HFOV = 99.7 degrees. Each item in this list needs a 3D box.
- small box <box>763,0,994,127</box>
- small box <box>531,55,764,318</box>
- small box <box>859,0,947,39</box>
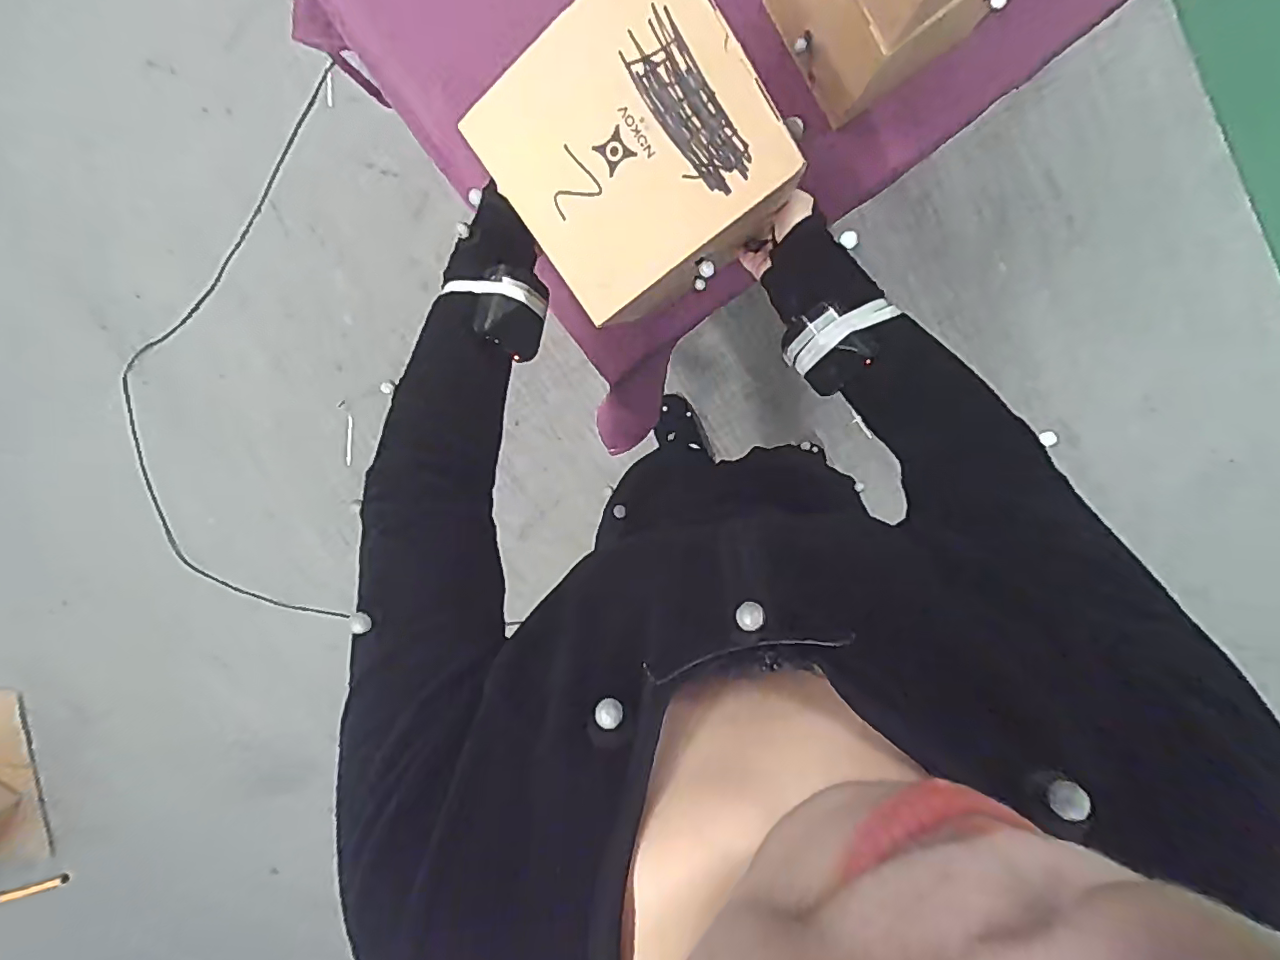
[{"bbox_3d":[0.245,-0.506,0.538,0.179,0.176,0.168,-32,98,10],"label":"small box"},{"bbox_3d":[0.018,-0.294,0.592,0.179,0.176,0.168,-30,100,16],"label":"small box"},{"bbox_3d":[0.231,-0.475,0.377,0.179,0.176,0.168,-36,98,10],"label":"small box"}]
